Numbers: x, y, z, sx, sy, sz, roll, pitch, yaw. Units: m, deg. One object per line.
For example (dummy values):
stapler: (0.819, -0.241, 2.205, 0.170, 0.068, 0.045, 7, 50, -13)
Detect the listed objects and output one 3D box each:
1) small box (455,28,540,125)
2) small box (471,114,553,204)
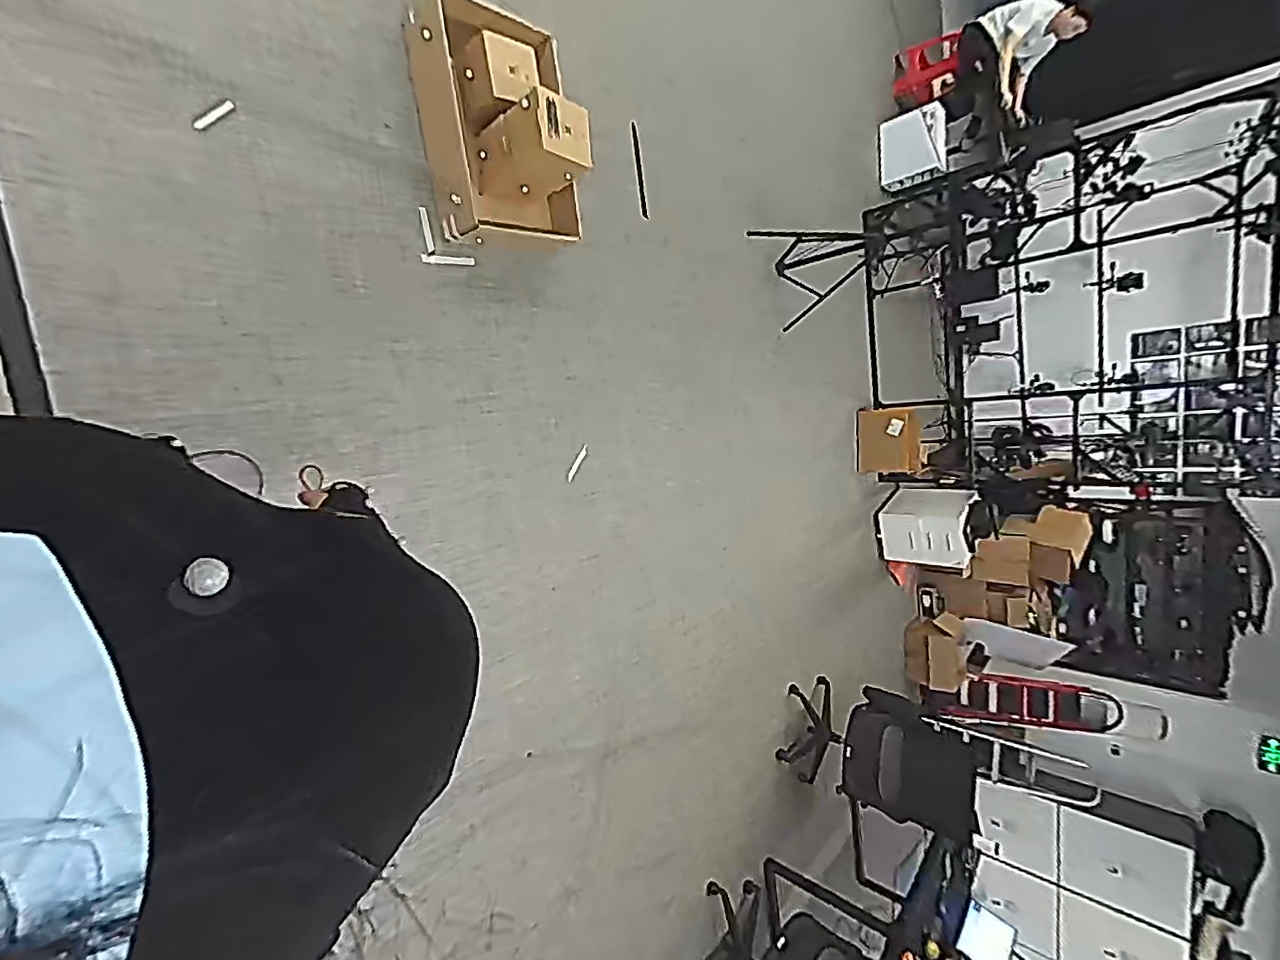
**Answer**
small box: (-0.426, -1.171, 1.592, 0.179, 0.176, 0.168, -19, 107, -45)
small box: (-0.389, -0.964, 1.645, 0.179, 0.176, 0.168, -10, 97, -45)
